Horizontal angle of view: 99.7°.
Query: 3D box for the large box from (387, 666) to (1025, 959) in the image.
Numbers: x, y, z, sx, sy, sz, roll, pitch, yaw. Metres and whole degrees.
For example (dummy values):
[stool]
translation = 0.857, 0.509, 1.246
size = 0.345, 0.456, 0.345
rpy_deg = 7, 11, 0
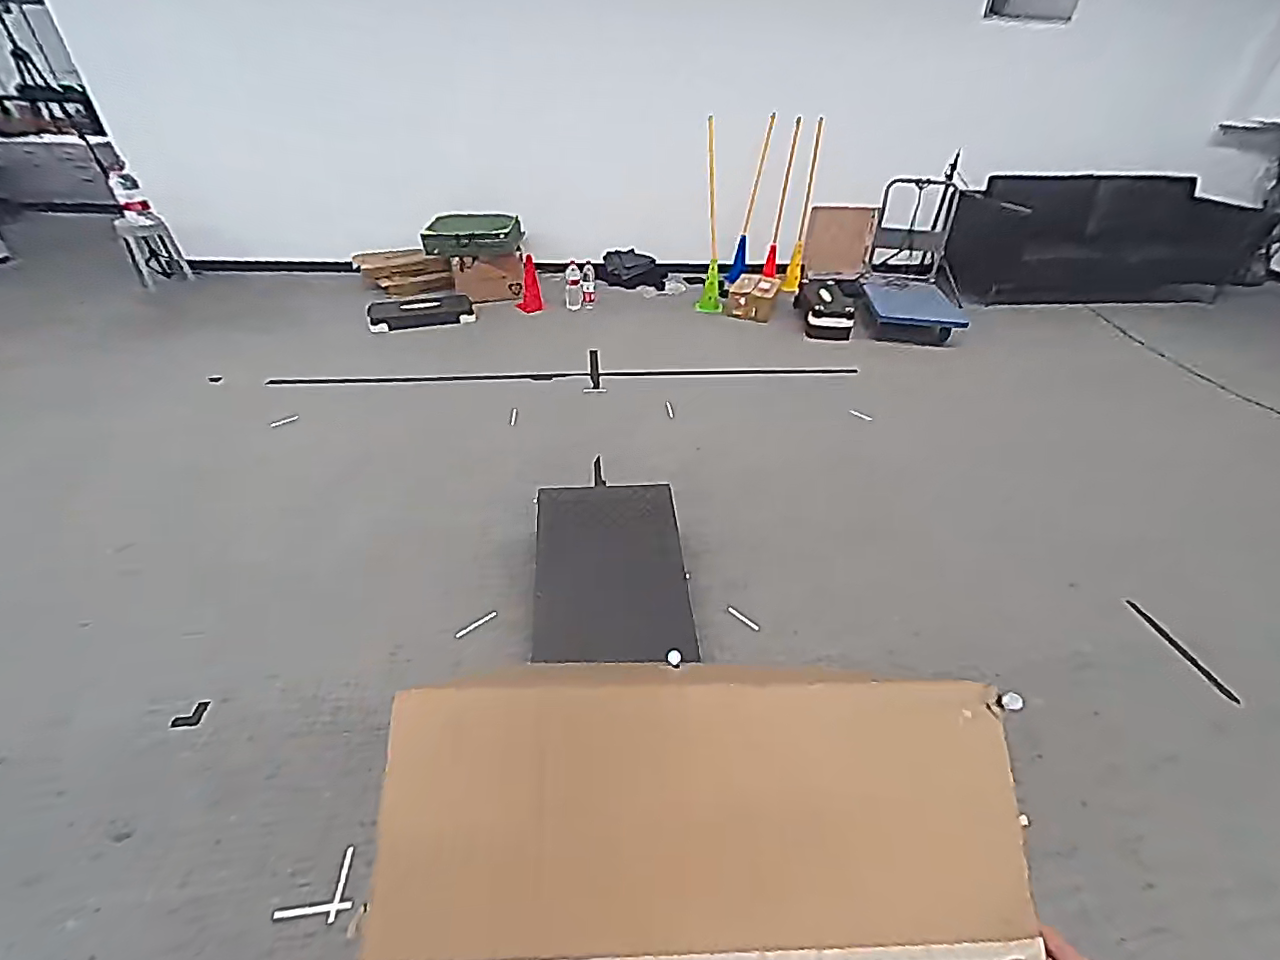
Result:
[large box]
translation = 0.035, 0.337, 0.473
size = 0.408, 0.320, 0.320
rpy_deg = 0, 75, -4
